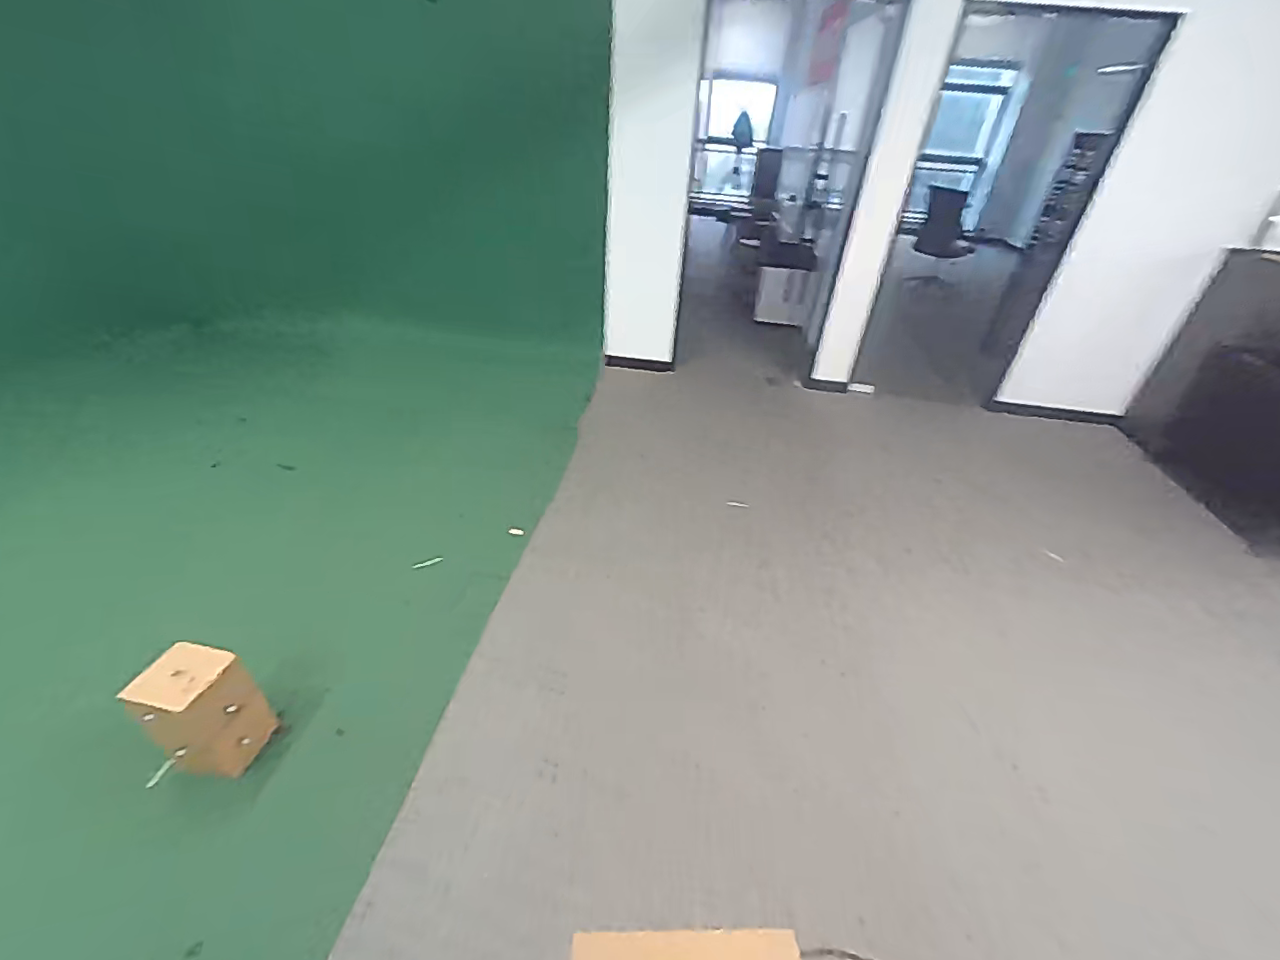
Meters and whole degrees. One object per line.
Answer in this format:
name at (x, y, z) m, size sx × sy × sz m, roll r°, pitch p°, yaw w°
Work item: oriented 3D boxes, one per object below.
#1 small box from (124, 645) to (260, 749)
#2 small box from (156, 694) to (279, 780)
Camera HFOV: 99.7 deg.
small box at (-1.118, 0.549, 1.364) m, size 0.179 × 0.176 × 0.168 m, roll 10°, pitch 36°, yaw 8°
small box at (-1.126, 0.682, 1.461) m, size 0.179 × 0.176 × 0.168 m, roll 8°, pitch 35°, yaw 7°
